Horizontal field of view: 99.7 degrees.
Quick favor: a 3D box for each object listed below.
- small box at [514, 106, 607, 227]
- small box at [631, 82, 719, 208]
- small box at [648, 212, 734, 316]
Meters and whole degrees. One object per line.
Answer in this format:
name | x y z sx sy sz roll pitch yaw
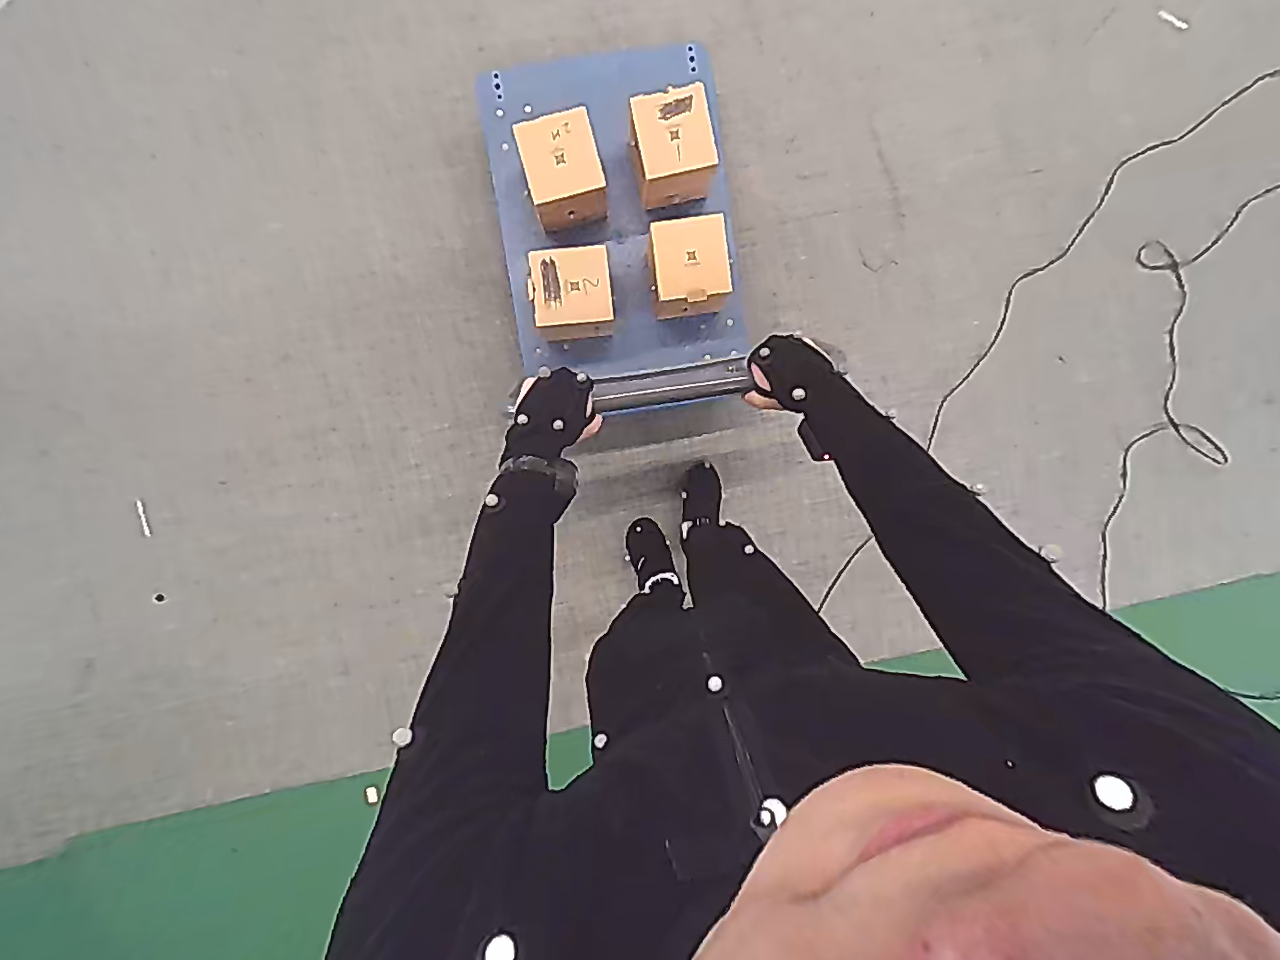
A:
small box | -0.175 -0.709 1.248 0.168 0.176 0.179 -16 95 -2
small box | 0.074 -0.766 1.253 0.168 0.176 0.179 -13 95 0
small box | 0.114 -0.502 1.276 0.168 0.176 0.179 -9 96 -2
